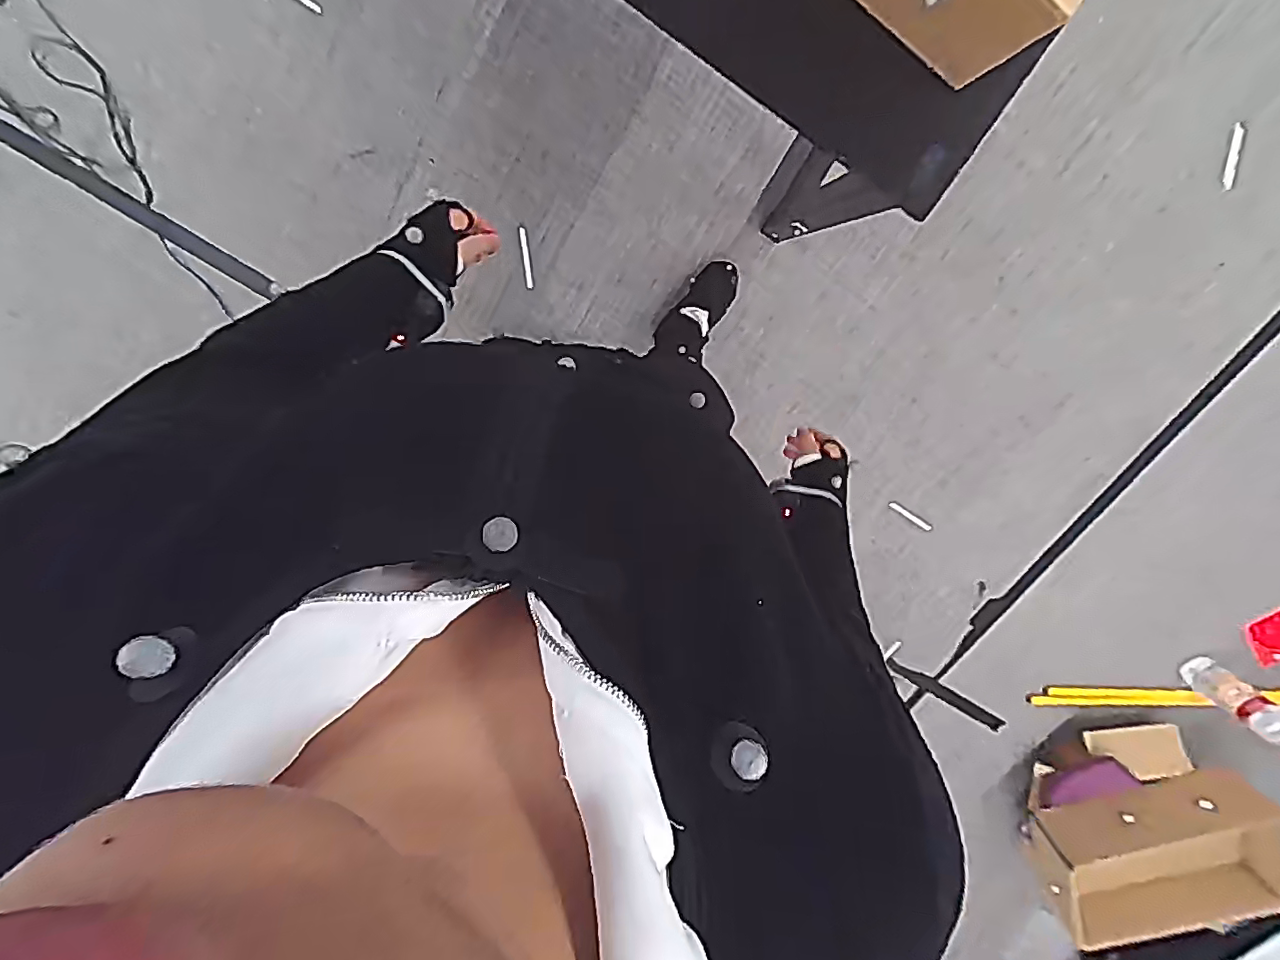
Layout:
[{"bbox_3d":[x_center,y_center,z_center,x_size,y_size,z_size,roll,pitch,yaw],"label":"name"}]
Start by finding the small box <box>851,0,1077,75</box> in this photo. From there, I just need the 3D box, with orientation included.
[{"bbox_3d":[0.315,-0.507,0.480,0.179,0.176,0.168,32,106,-10],"label":"small box"}]
